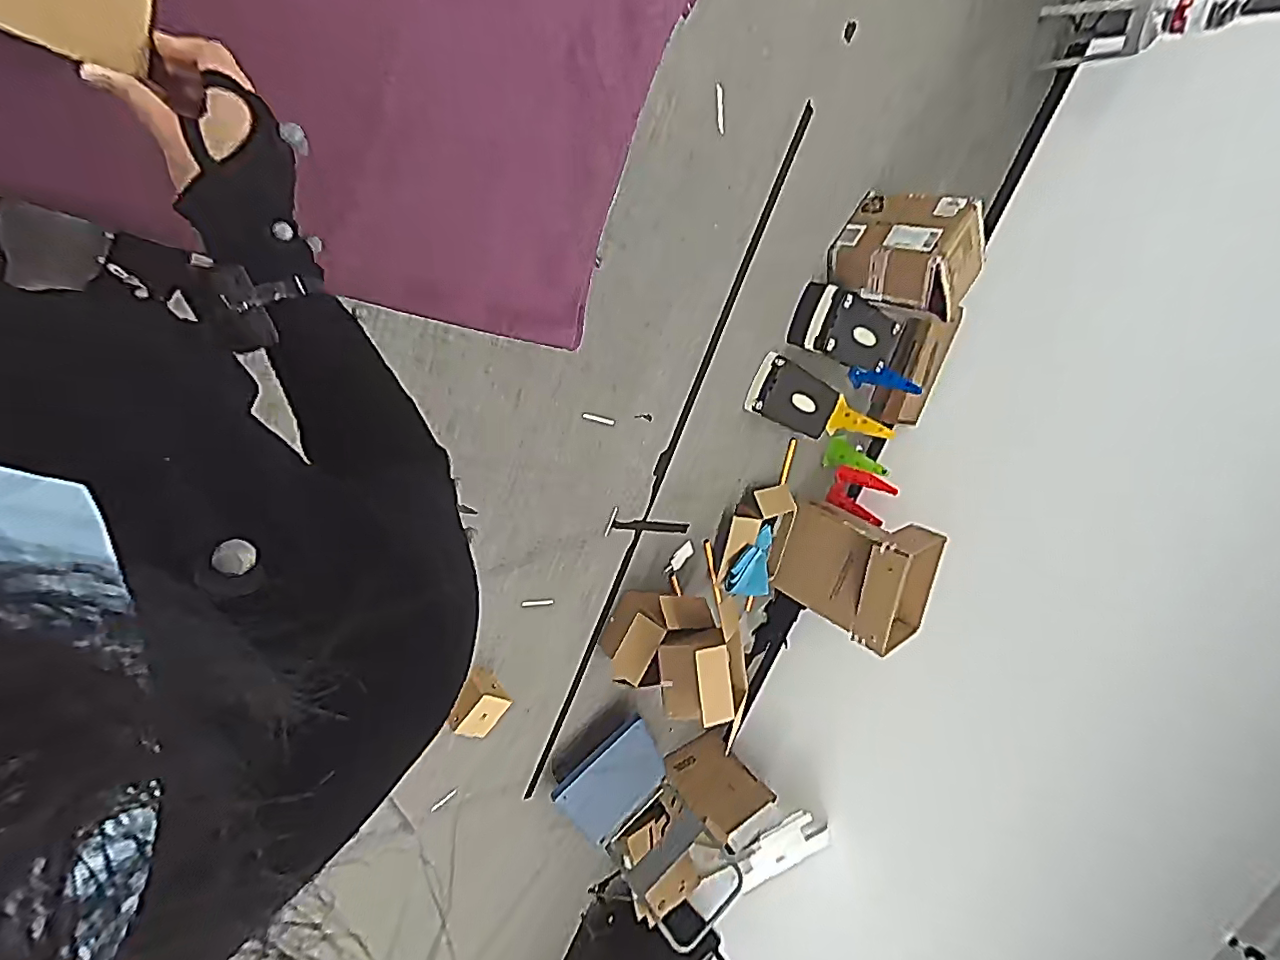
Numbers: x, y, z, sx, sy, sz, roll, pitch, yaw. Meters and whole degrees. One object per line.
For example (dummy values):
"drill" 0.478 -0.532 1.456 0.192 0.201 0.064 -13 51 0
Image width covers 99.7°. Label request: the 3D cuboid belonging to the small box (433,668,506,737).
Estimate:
"small box" -0.658 0.852 2.076 0.179 0.176 0.168 -51 140 -6
